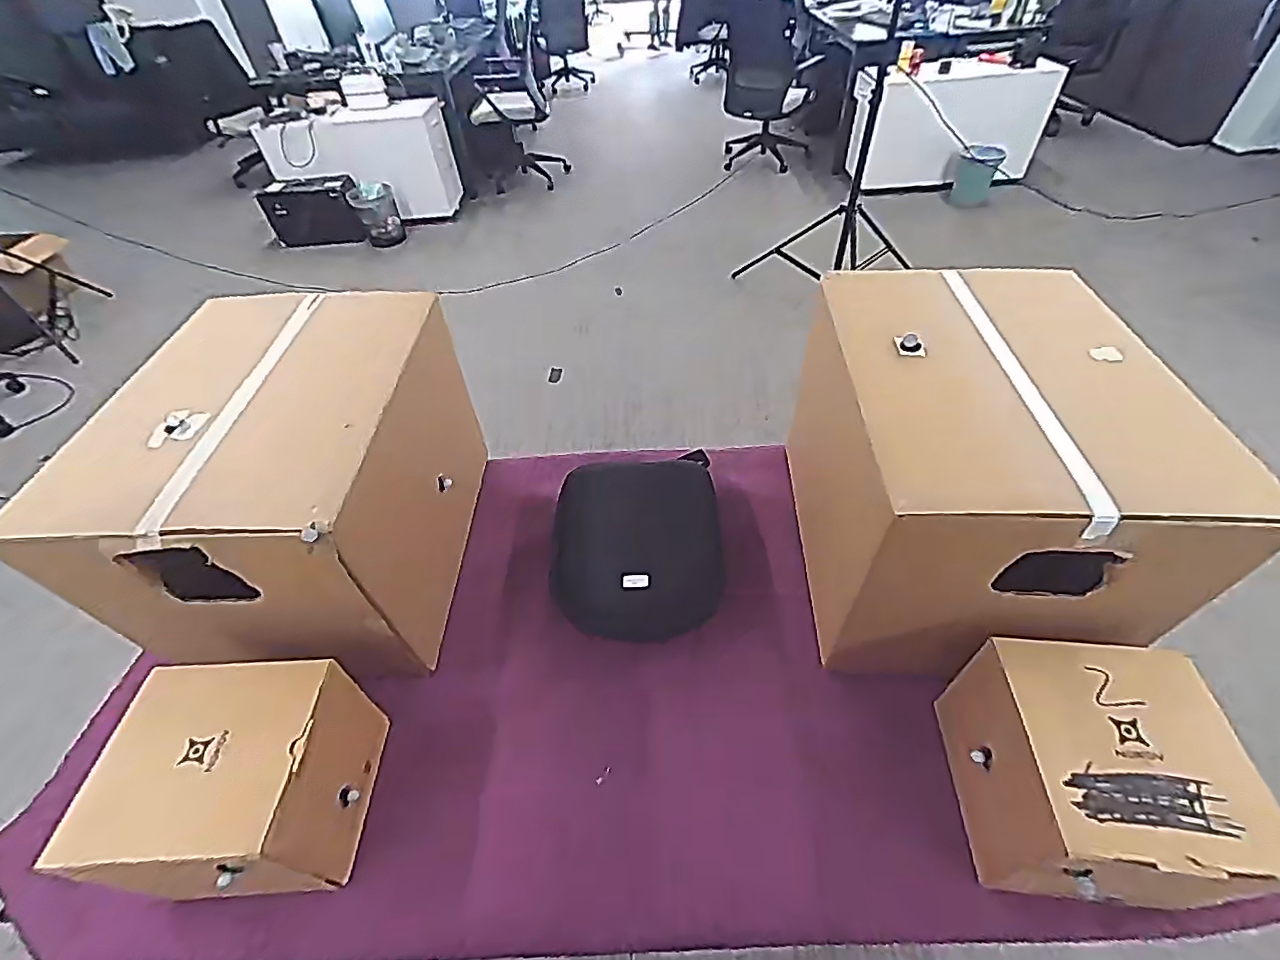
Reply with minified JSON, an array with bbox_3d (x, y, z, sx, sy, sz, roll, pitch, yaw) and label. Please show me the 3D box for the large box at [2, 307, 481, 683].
[{"bbox_3d":[-0.423,0.015,0.721,0.320,0.320,0.408,-3,49,1],"label":"large box"}]
